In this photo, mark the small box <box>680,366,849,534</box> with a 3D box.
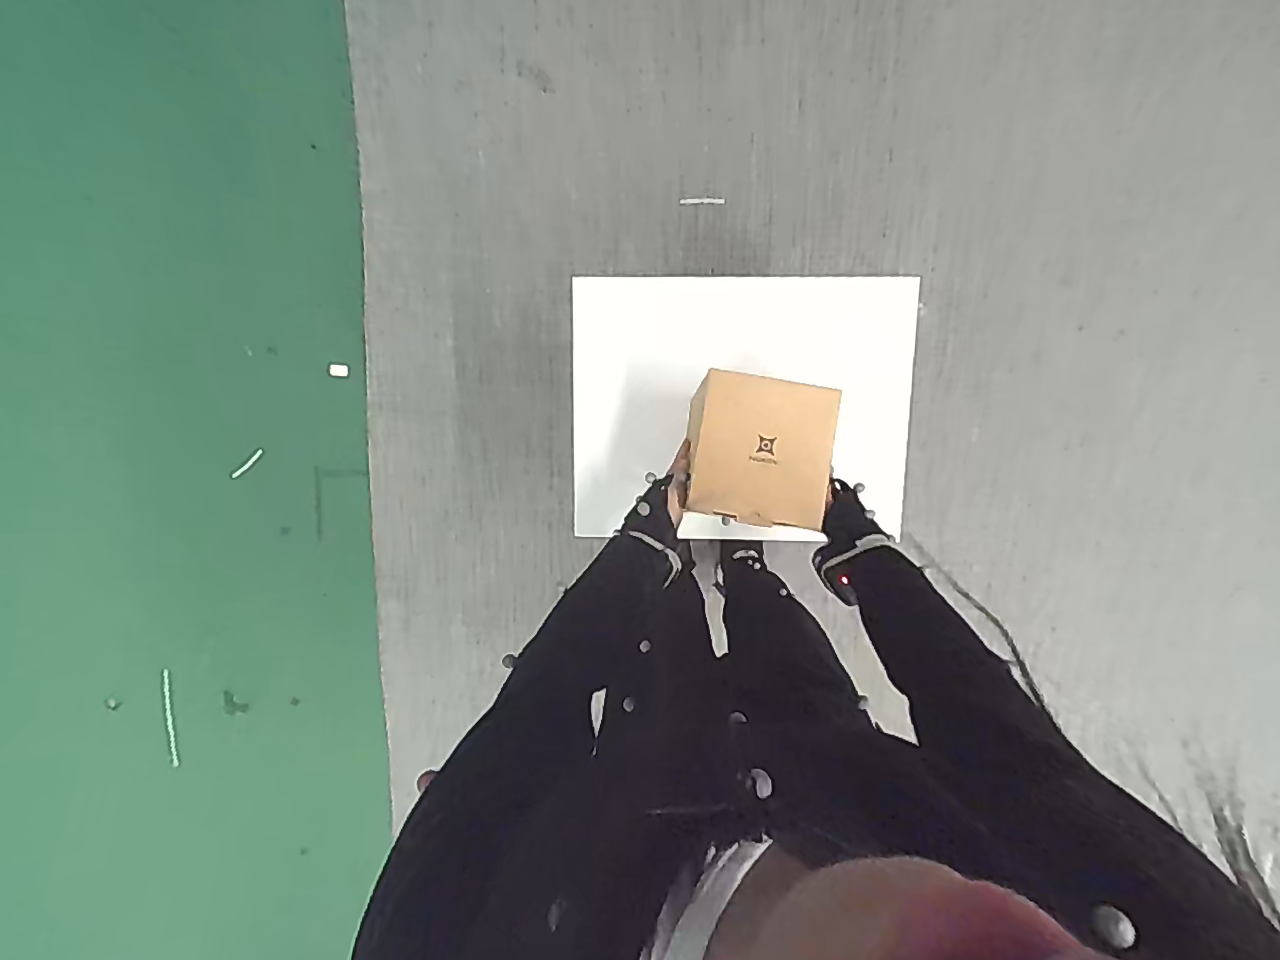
[{"bbox_3d":[0.149,-0.030,0.704,0.168,0.176,0.179,9,86,-1],"label":"small box"}]
